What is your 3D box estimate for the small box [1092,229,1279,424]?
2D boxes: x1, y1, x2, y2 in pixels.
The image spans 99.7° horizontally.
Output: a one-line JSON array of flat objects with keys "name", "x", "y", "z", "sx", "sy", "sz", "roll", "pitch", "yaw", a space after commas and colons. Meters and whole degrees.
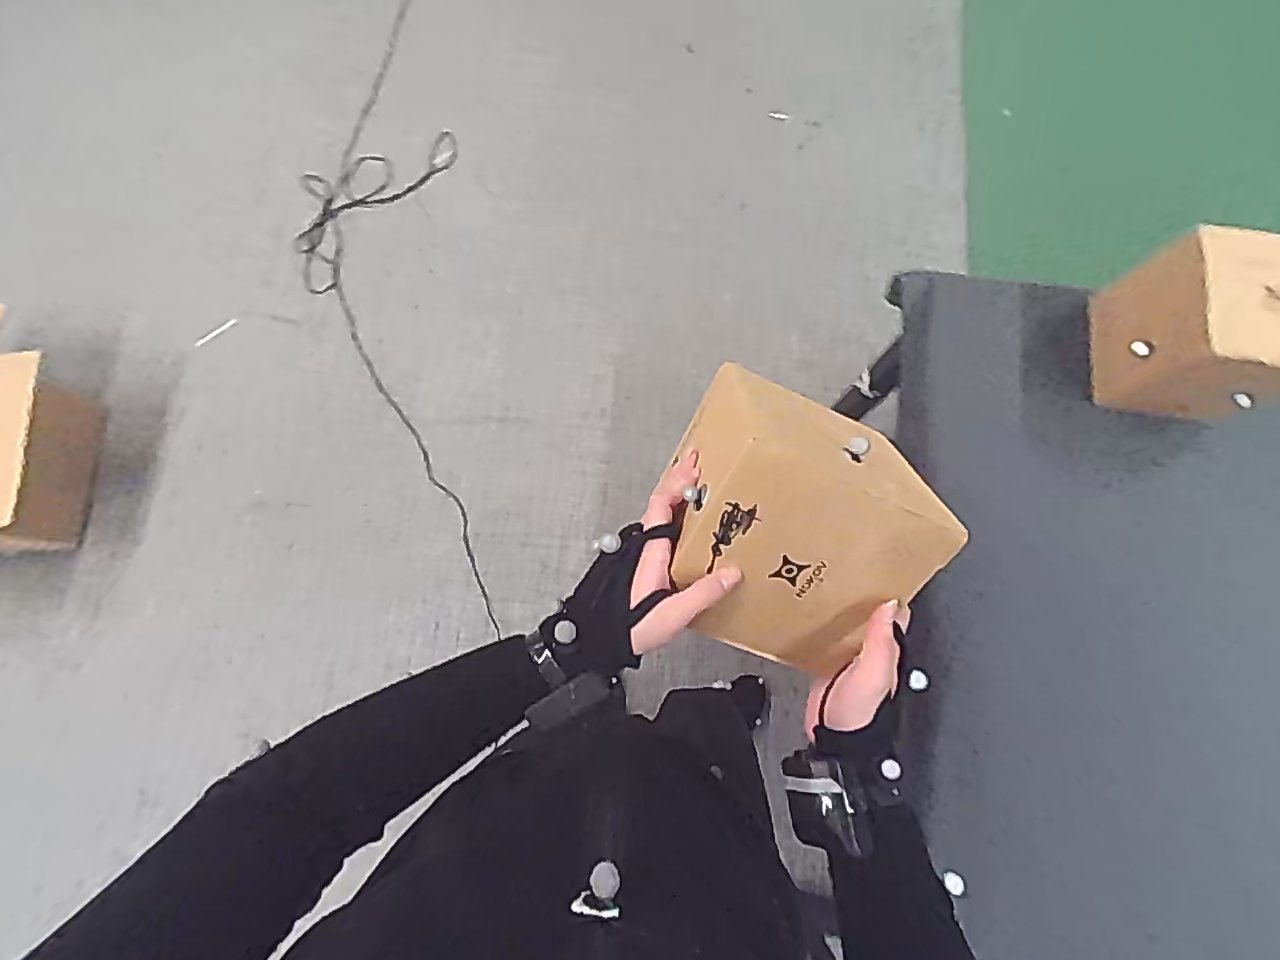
[{"name": "small box", "x": 0.743, "y": -0.189, "z": 0.712, "sx": 0.168, "sy": 0.176, "sz": 0.179, "roll": 11, "pitch": 76, "yaw": 0}]

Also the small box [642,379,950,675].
[{"name": "small box", "x": 0.113, "y": 0.032, "z": 0.474, "sx": 0.179, "sy": 0.176, "sz": 0.168, "roll": 21, "pitch": 117, "yaw": -11}]
